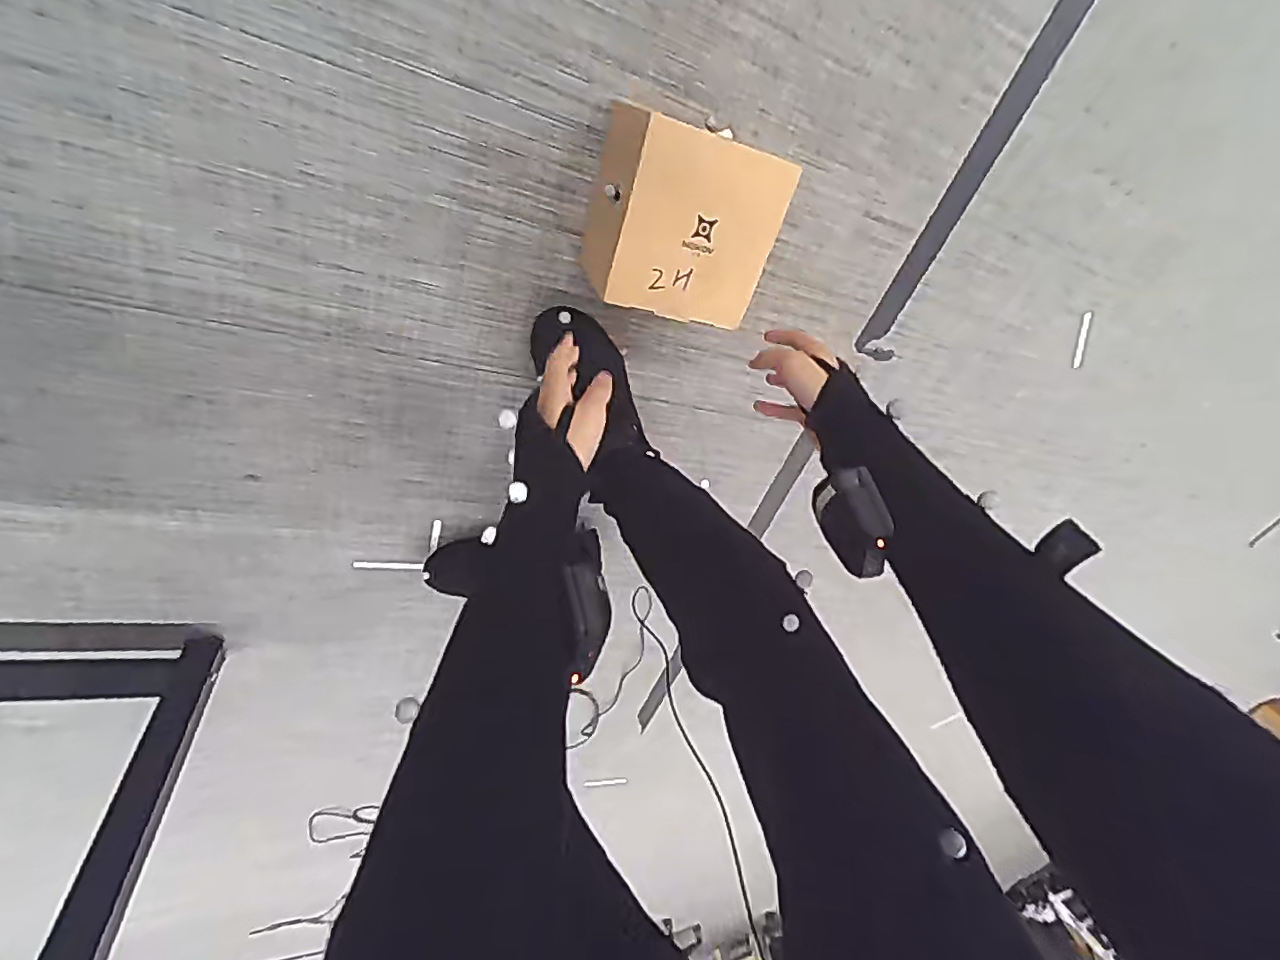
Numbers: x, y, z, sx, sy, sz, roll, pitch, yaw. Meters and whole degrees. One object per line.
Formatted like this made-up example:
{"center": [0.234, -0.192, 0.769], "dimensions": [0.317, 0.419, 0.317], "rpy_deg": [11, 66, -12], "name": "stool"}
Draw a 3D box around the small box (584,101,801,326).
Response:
{"center": [0.042, -0.300, 0.608], "dimensions": [0.168, 0.176, 0.179], "rpy_deg": [5, 126, -21], "name": "small box"}
